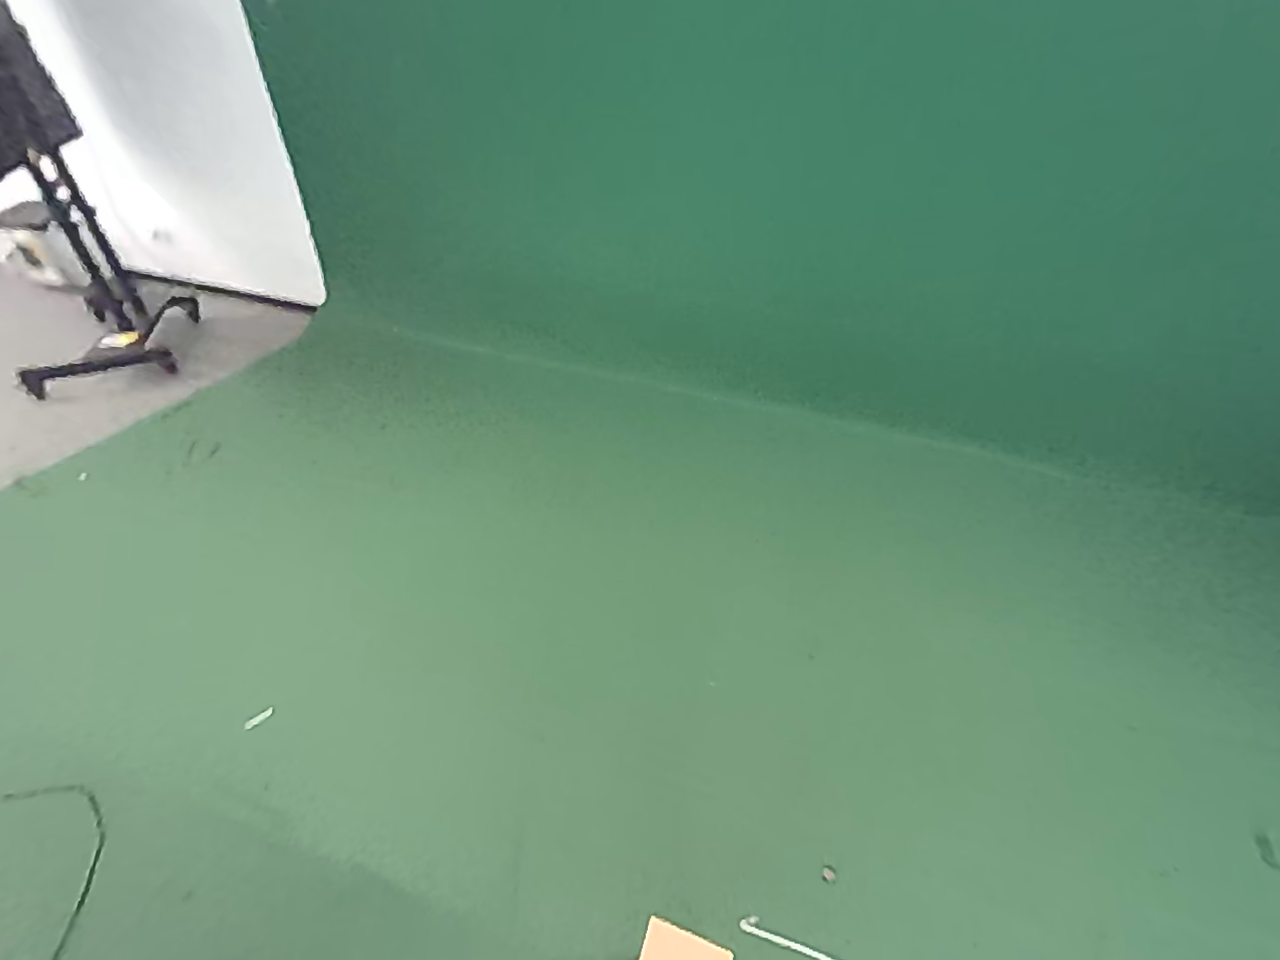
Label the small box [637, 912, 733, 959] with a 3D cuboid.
[{"bbox_3d":[0.064,0.967,1.012,0.168,0.176,0.179,15,40,14],"label":"small box"}]
